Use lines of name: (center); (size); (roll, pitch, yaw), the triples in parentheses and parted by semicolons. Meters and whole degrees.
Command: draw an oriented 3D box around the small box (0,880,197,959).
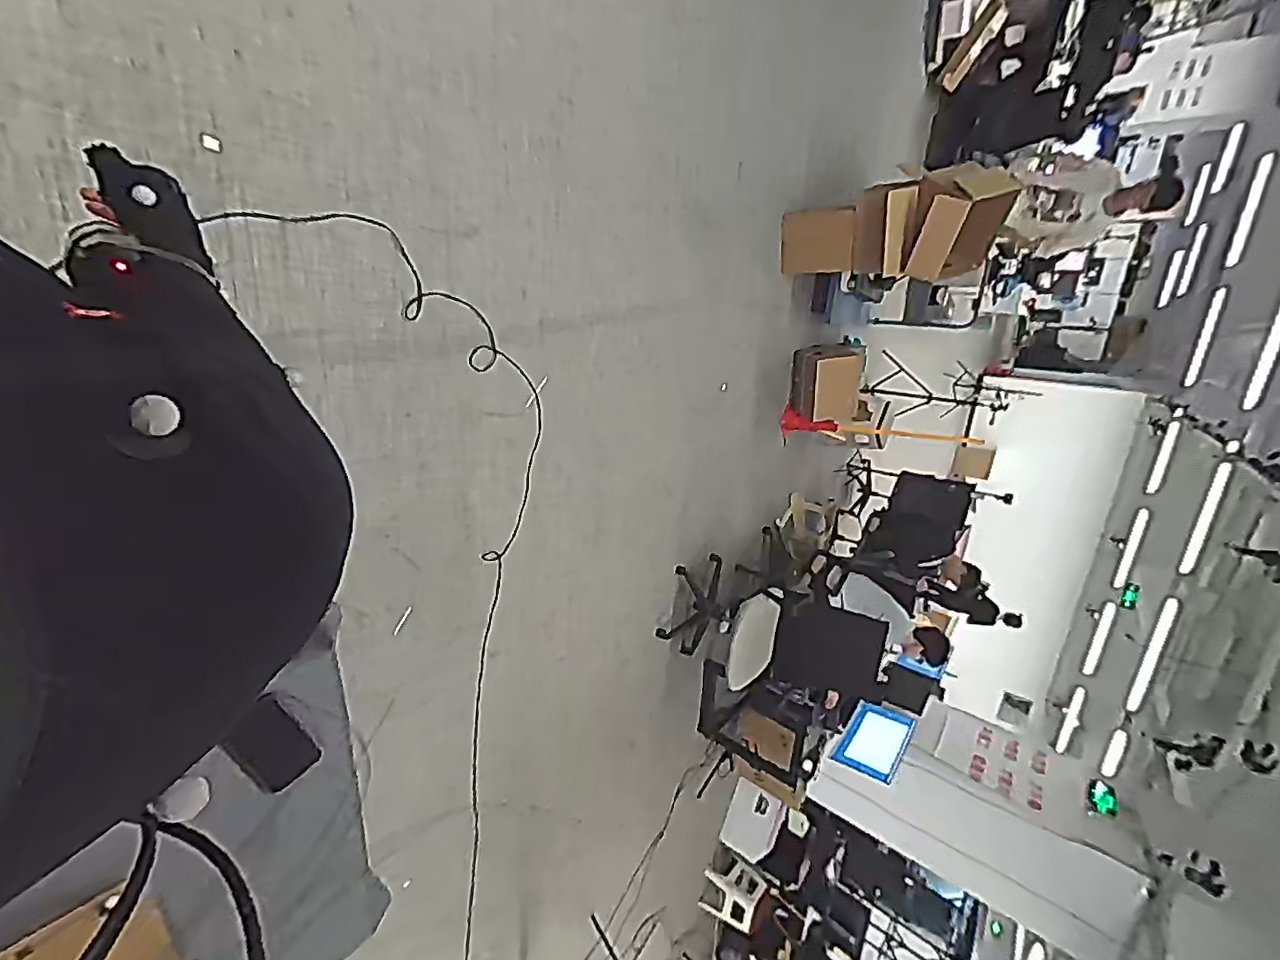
small box: (-0.608, 0.603, 0.606); (0.168, 0.176, 0.179); (-20, 120, -49)
